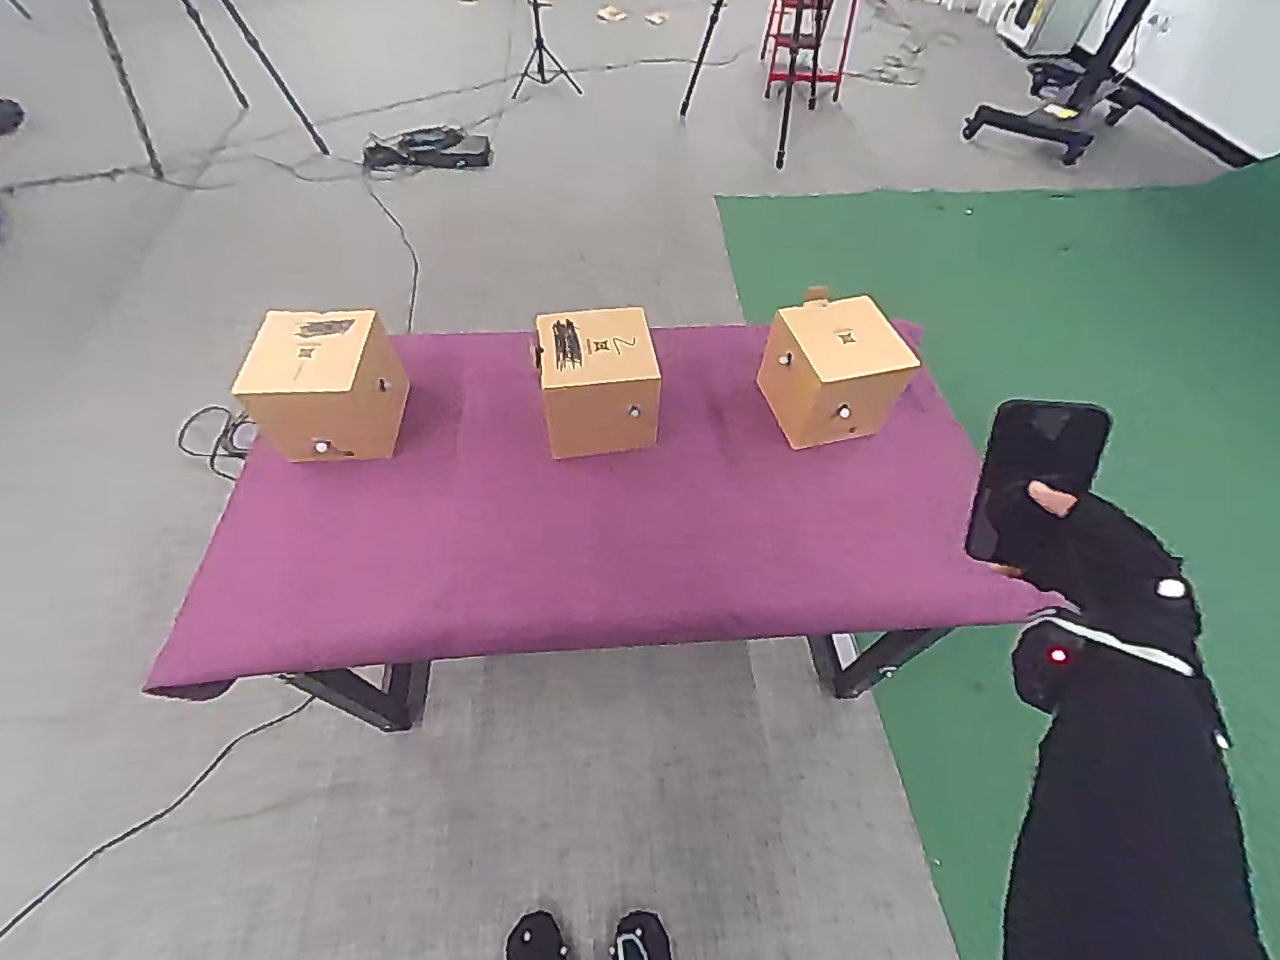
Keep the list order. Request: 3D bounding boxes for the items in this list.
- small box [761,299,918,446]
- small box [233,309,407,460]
[{"bbox_3d":[0.321,-0.173,0.913,0.168,0.176,0.179,-11,56,-9],"label":"small box"},{"bbox_3d":[-0.491,-0.150,0.865,0.168,0.176,0.179,-1,57,-3],"label":"small box"}]
